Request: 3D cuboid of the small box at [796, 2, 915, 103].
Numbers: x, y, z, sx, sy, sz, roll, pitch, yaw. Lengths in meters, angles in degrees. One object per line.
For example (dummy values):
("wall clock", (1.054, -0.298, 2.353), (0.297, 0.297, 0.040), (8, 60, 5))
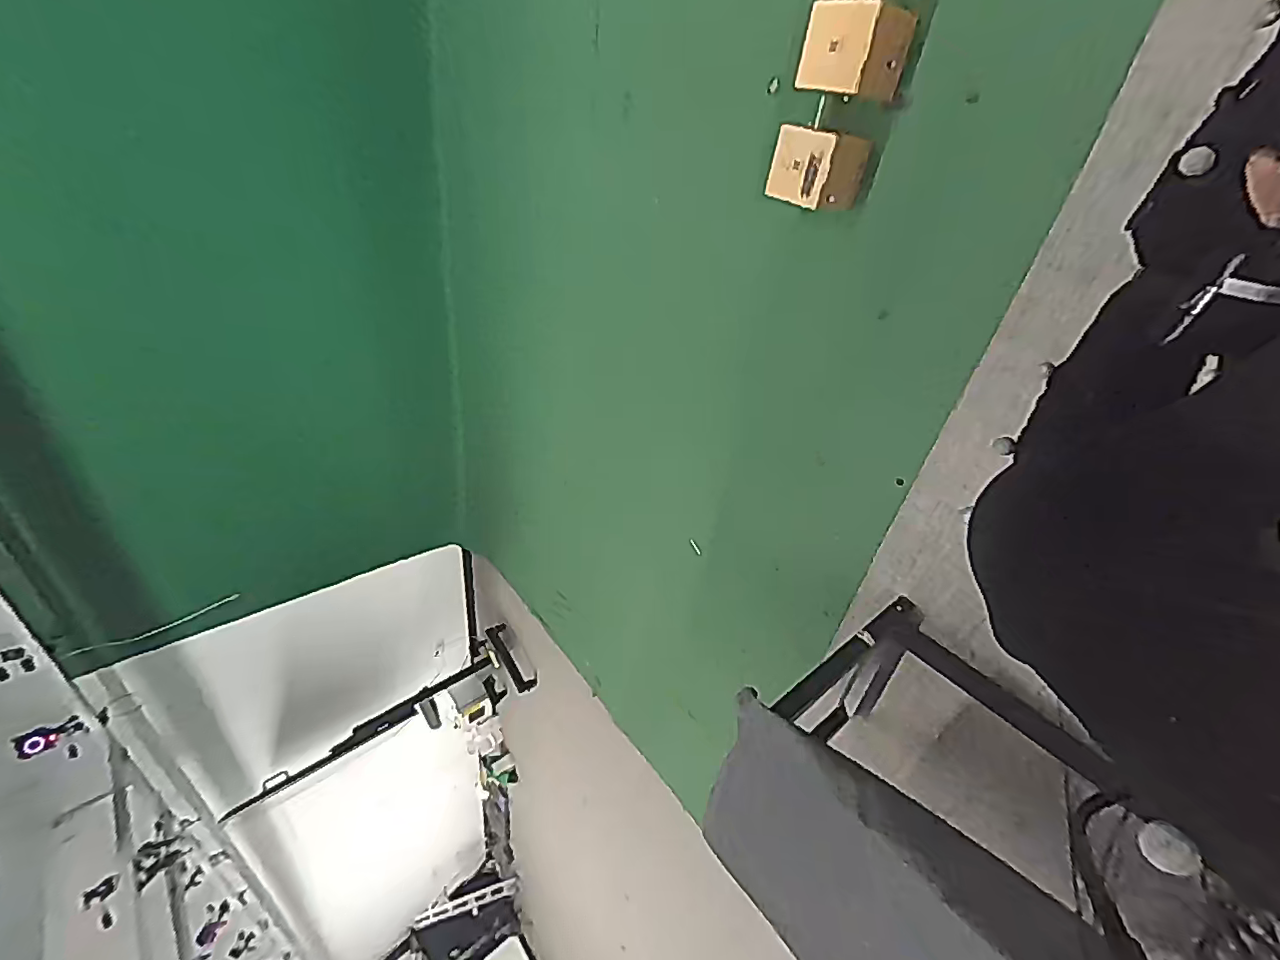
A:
("small box", (0.511, -1.014, 1.289), (0.179, 0.176, 0.168), (37, 133, 35))
